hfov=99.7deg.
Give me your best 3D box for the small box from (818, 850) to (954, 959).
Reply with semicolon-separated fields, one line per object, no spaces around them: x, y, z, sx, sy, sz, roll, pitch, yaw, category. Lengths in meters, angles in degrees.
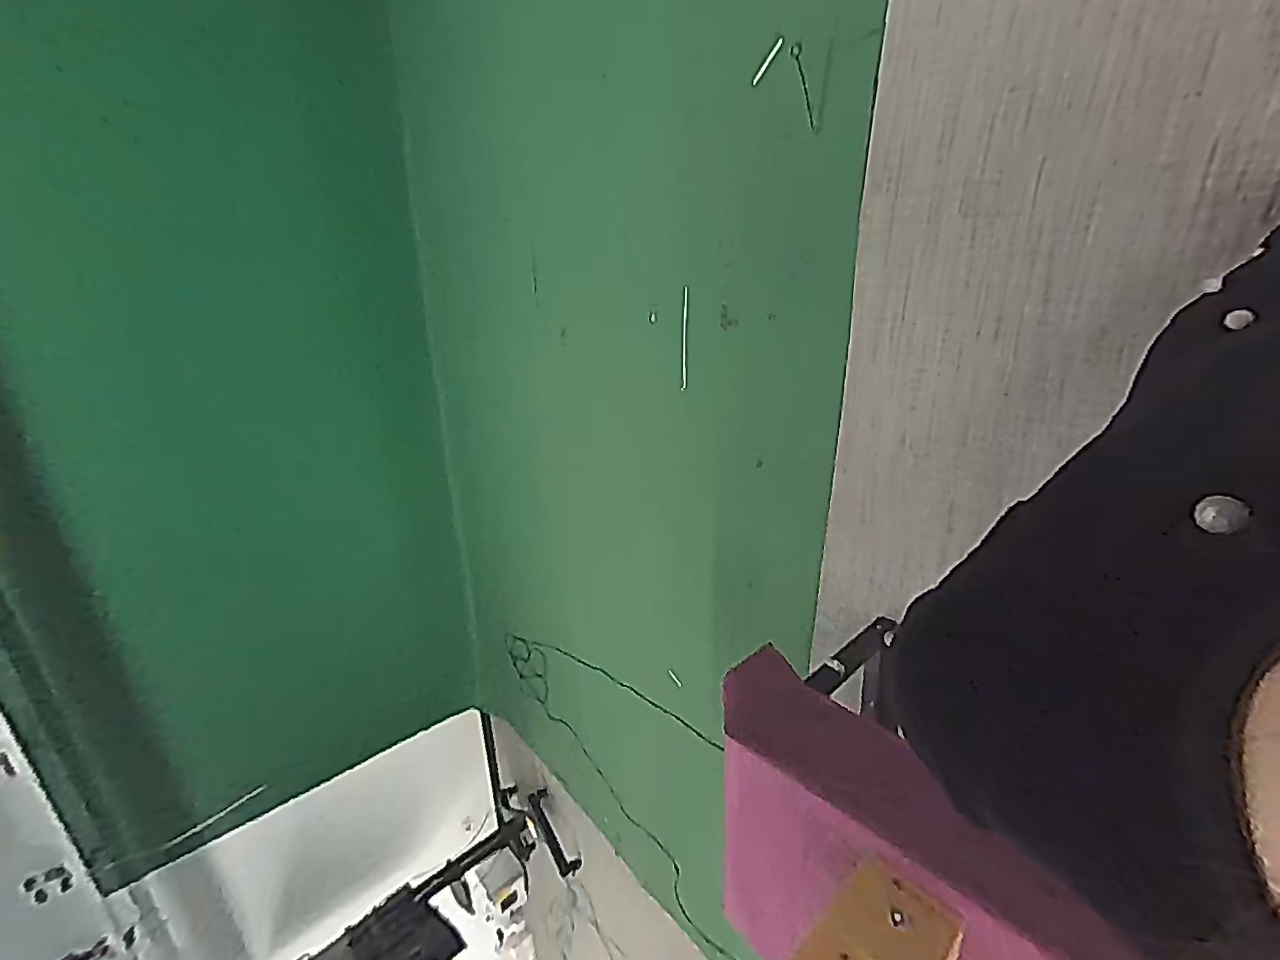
0.416;0.797;0.930;0.168;0.176;0.179;20;119;46;small box
